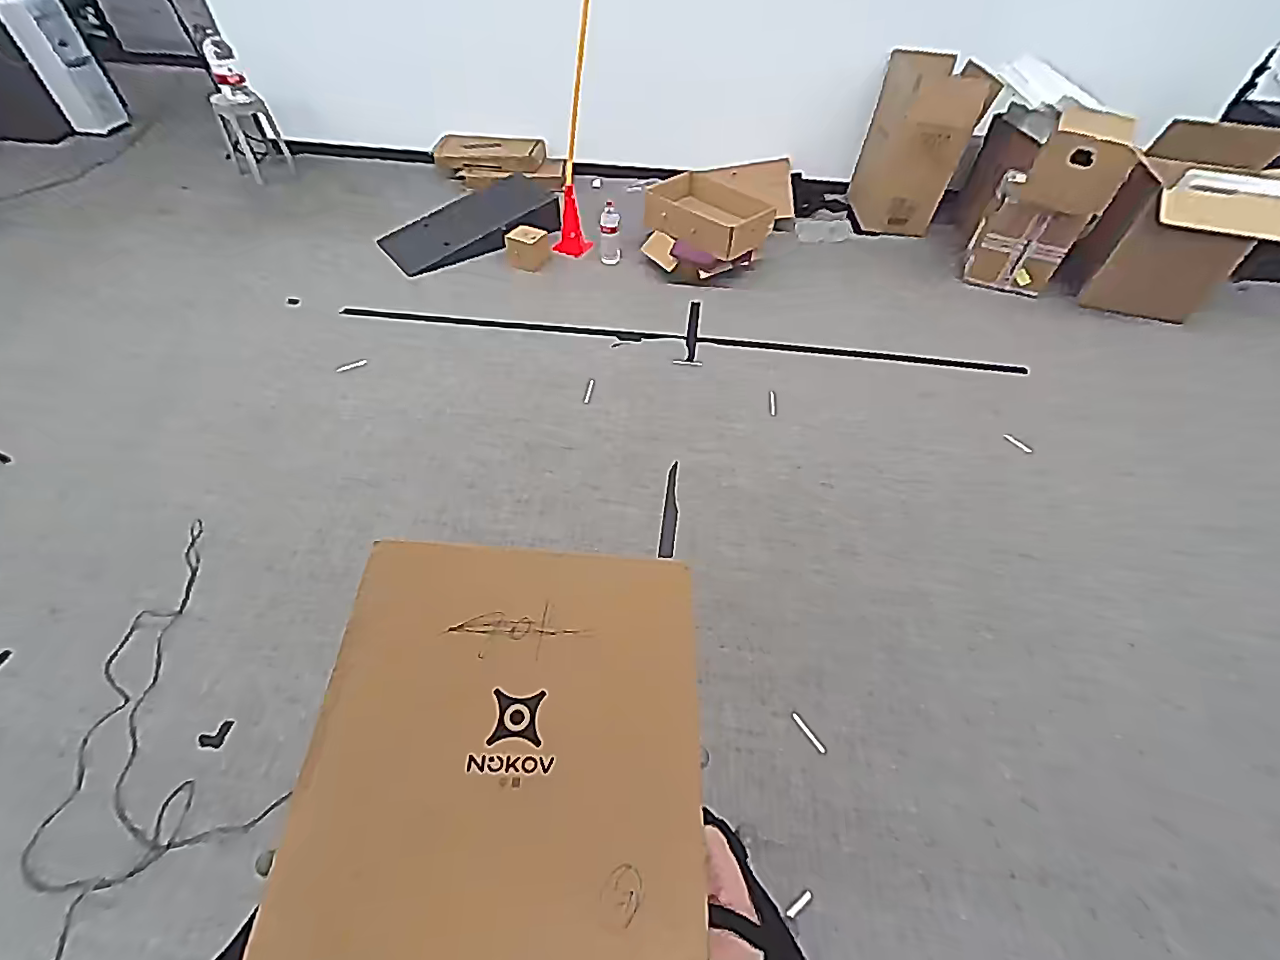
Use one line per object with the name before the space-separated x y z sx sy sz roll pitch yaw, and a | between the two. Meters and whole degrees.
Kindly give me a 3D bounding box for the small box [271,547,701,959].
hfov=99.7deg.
small box | -0.068 0.158 0.317 0.168 0.176 0.179 5 54 -9
